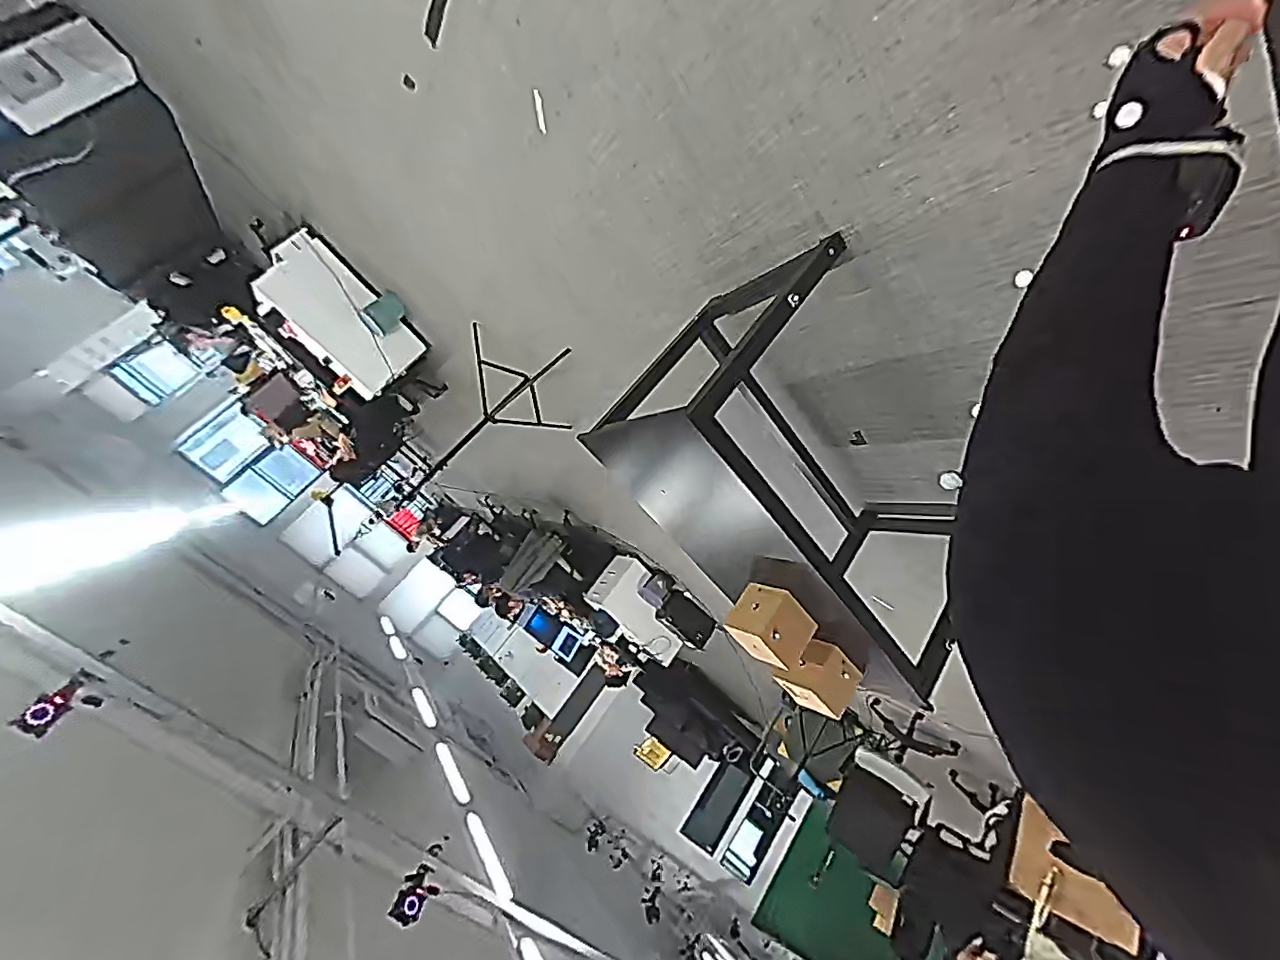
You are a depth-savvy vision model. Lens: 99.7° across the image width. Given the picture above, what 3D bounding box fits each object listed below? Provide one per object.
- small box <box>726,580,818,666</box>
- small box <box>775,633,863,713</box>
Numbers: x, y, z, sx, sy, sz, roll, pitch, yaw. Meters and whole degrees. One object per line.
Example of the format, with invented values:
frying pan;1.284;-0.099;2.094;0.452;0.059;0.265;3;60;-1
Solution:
small box;0.404;0.426;1.644;0.179;0.176;0.168;47;159;-20
small box;0.576;0.608;1.737;0.168;0.176;0.179;46;158;-19
